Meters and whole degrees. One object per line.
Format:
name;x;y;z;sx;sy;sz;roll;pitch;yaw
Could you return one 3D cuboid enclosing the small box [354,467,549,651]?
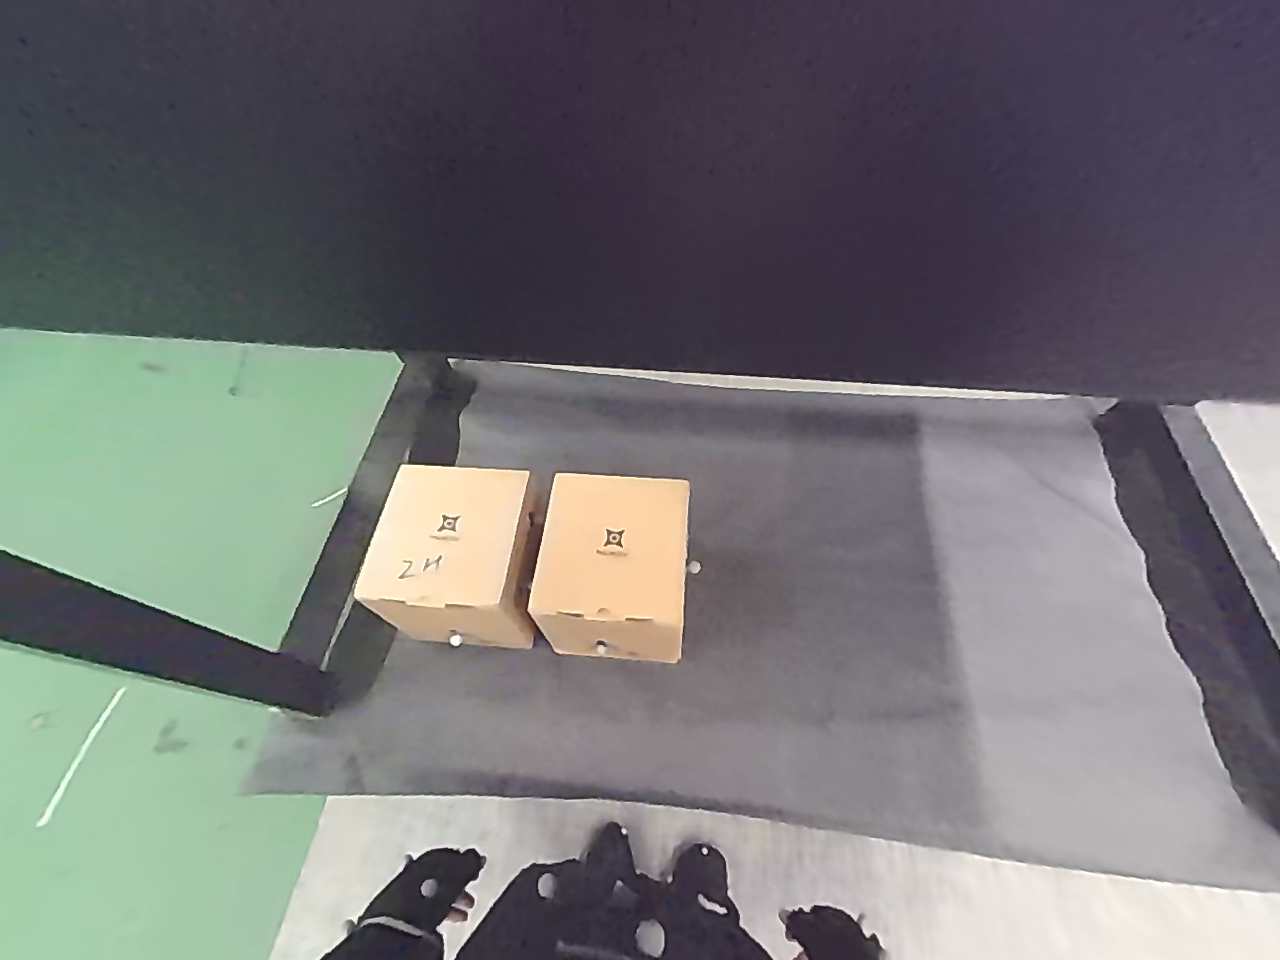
small box;-0.219;0.103;0.688;0.168;0.176;0.179;2;58;5
